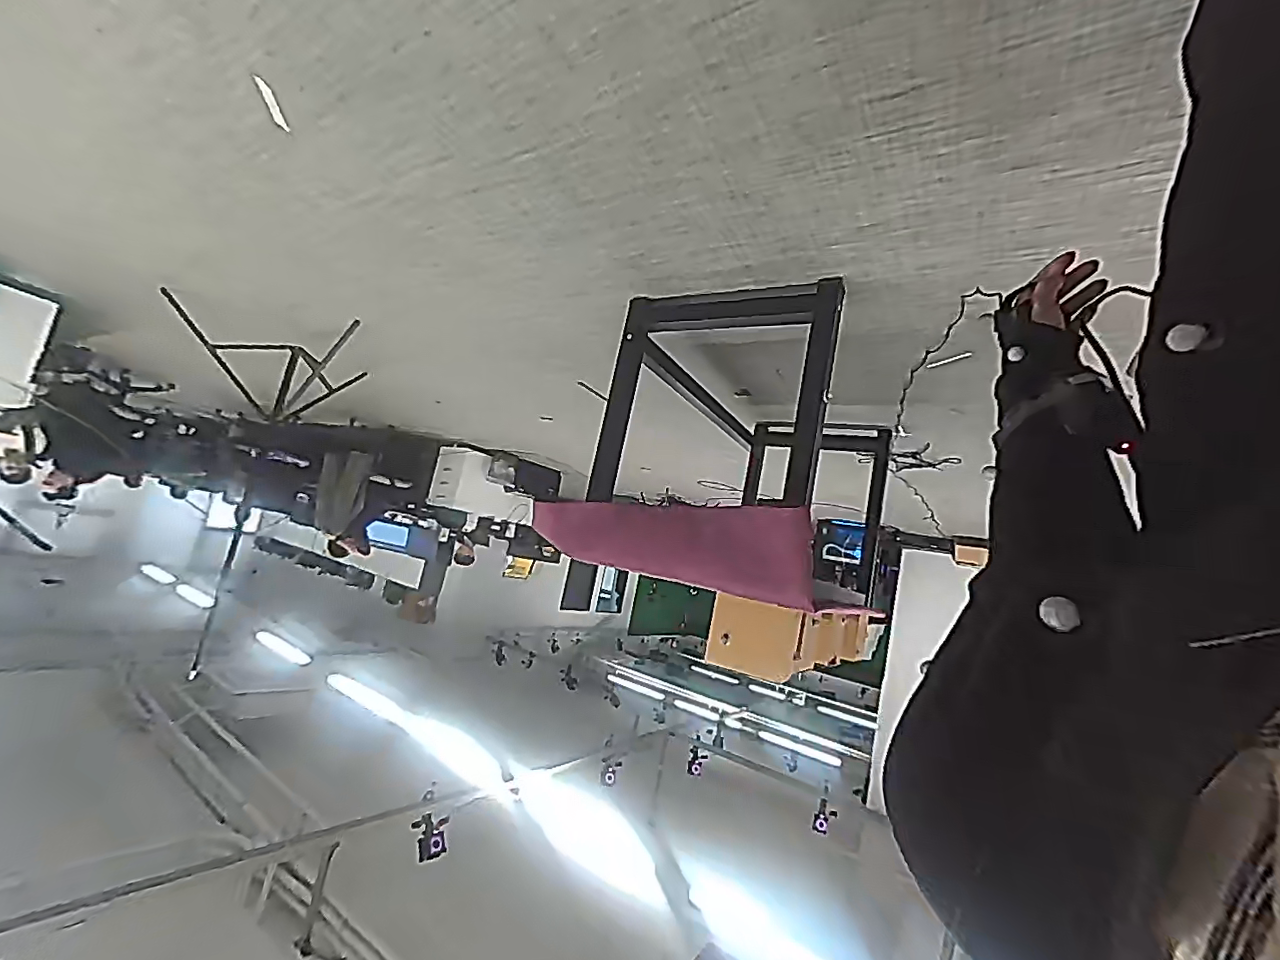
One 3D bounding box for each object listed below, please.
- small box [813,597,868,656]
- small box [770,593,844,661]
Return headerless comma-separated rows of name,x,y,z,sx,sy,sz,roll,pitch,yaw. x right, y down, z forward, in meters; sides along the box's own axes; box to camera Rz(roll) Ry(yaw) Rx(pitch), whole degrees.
small box,0.711,0.522,1.941,0.168,0.176,0.179,6,170,35
small box,0.525,0.452,1.682,0.179,0.176,0.168,6,171,35
